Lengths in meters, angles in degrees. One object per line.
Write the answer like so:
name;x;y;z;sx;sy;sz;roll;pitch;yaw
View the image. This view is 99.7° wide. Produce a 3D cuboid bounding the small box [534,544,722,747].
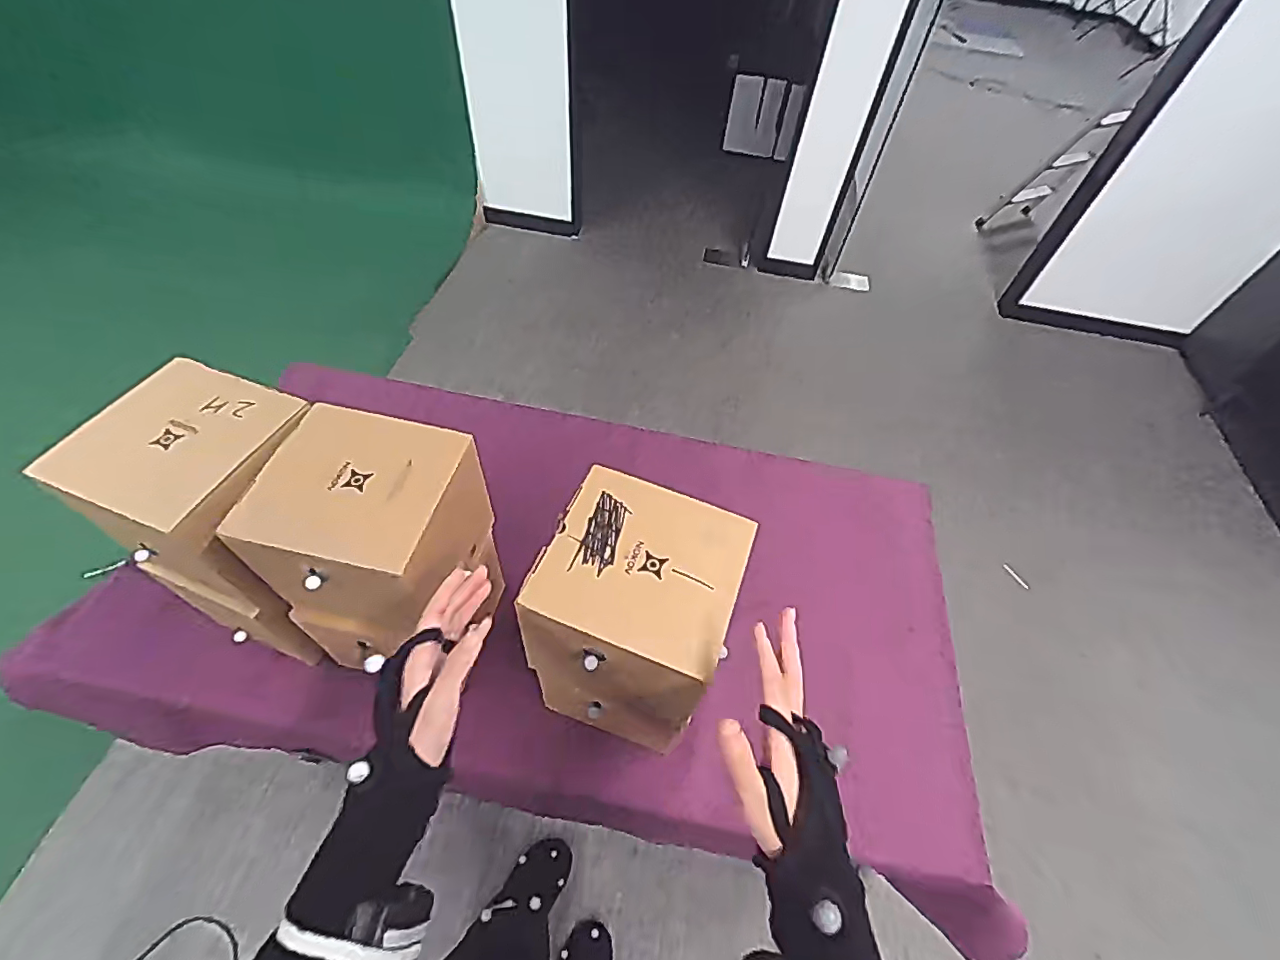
small box;-0.014;0.213;0.680;0.179;0.176;0.168;18;53;8
